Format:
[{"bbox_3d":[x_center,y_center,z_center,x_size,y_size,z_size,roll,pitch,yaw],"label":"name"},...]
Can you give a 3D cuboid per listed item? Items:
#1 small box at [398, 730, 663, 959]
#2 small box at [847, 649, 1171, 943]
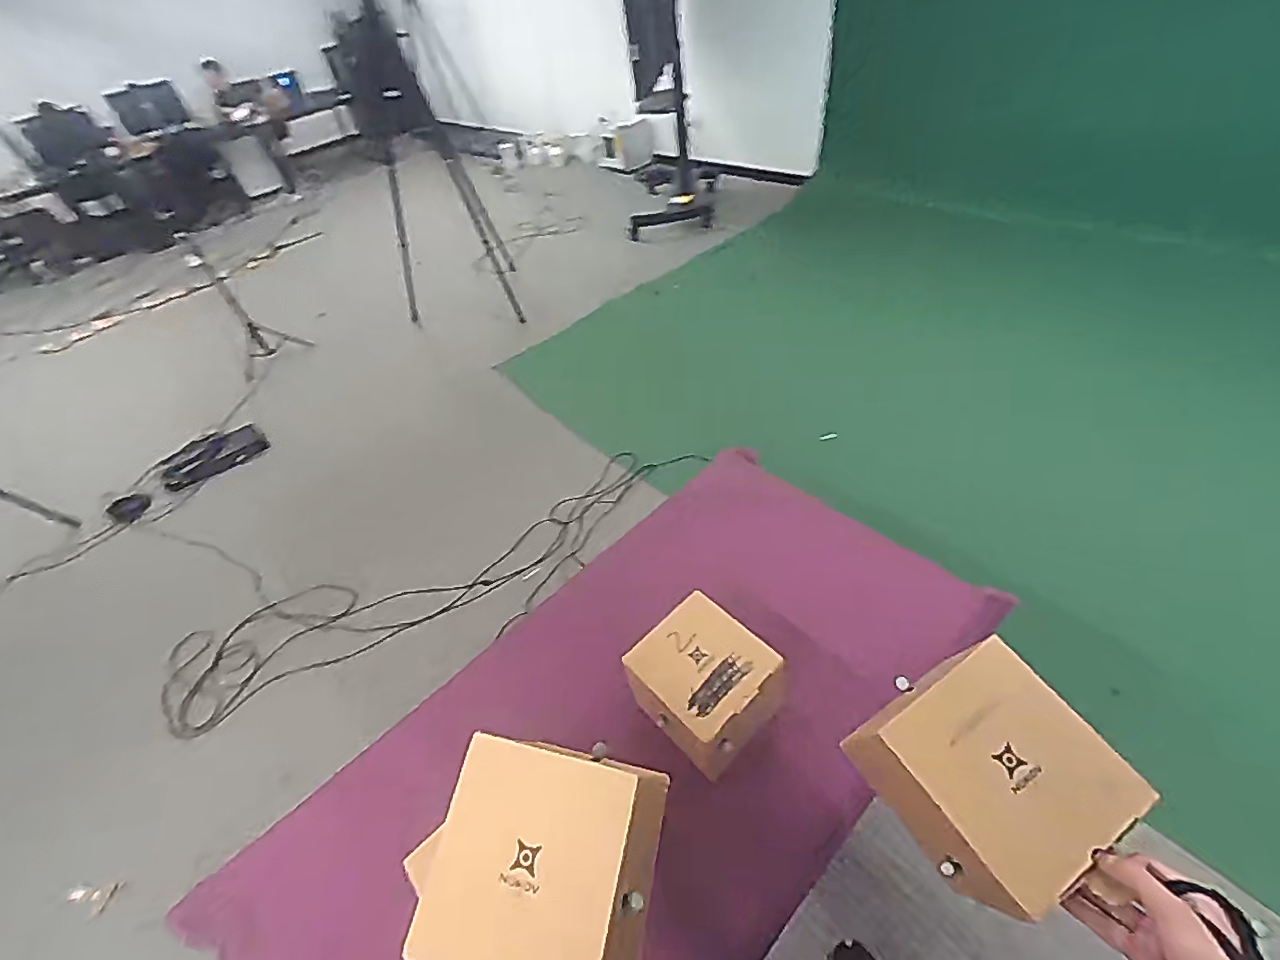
[{"bbox_3d":[-0.081,0.353,0.510,0.168,0.176,0.179,7,65,16],"label":"small box"},{"bbox_3d":[0.345,0.304,0.549,0.168,0.176,0.179,-30,61,-12],"label":"small box"}]
